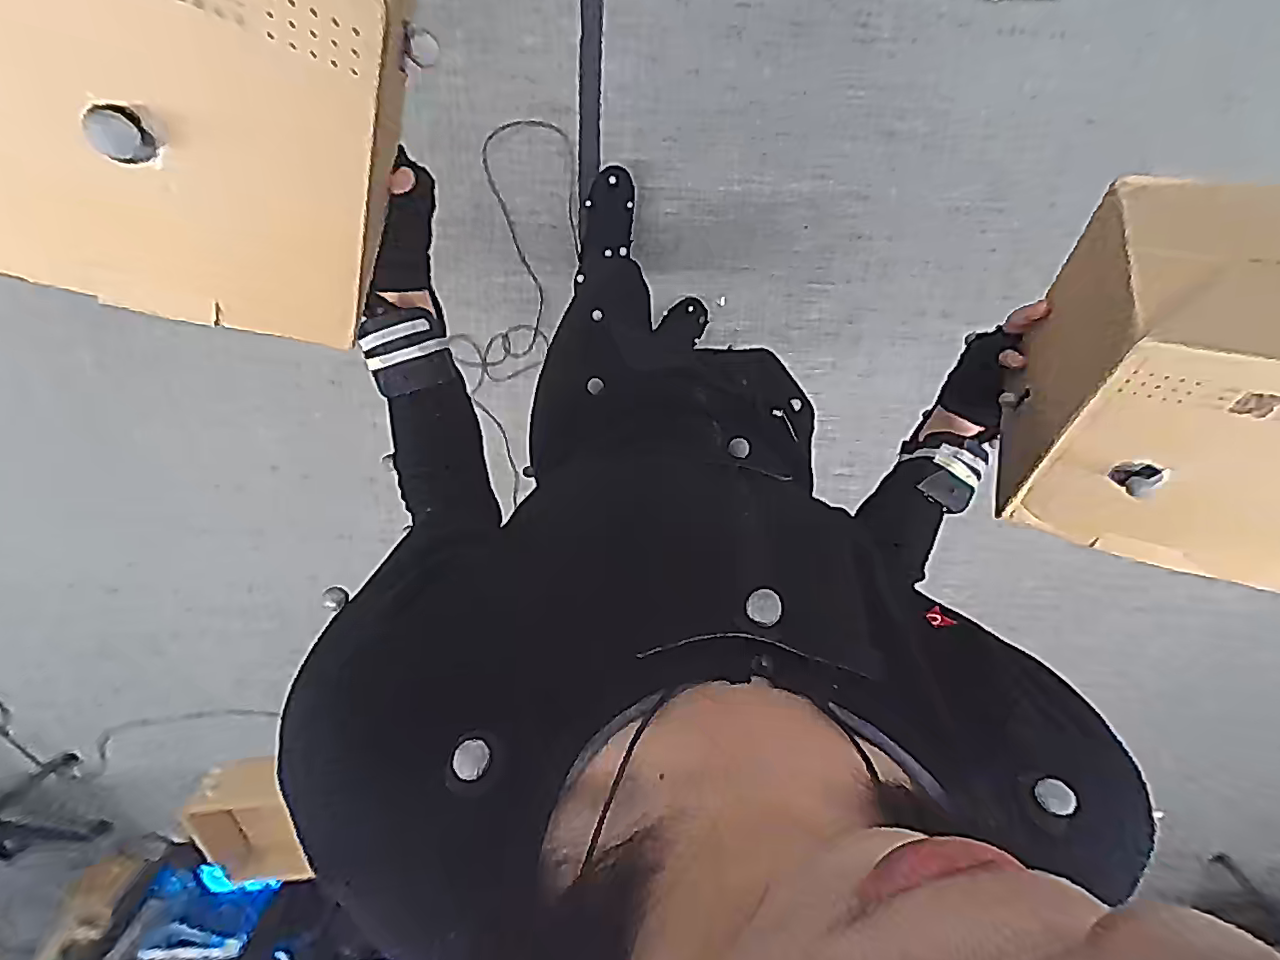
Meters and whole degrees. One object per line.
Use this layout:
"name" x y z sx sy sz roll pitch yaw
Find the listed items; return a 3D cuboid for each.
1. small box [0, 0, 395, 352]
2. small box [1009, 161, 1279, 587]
"small box" -0.208 -0.191 0.241 0.168 0.179 0.176 8 140 -26
"small box" 0.353 -0.066 0.328 0.168 0.179 0.176 17 147 17
